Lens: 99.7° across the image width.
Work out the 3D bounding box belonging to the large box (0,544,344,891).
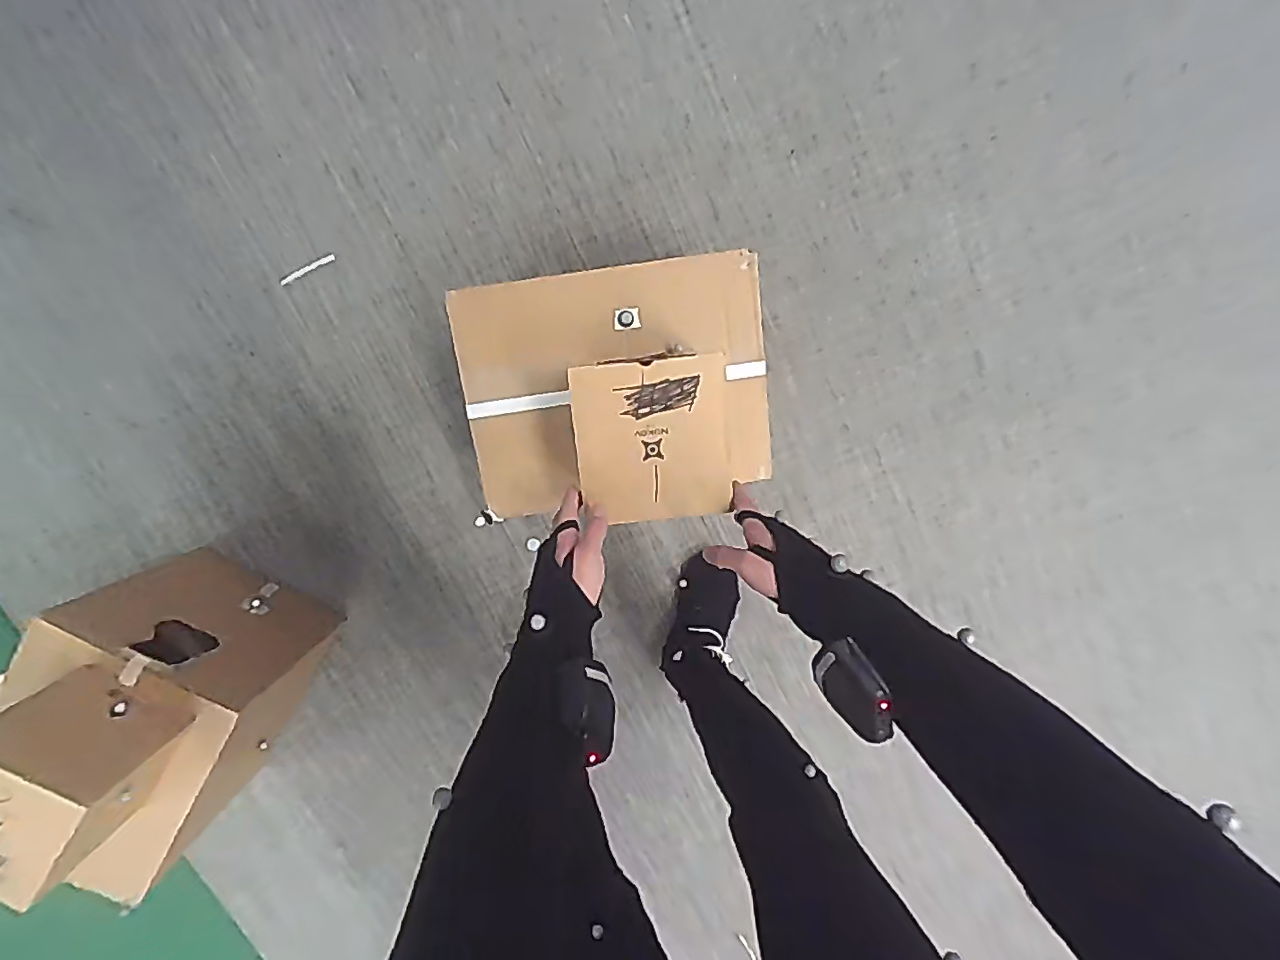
[{"bbox_3d":[-0.817,0.391,0.962,0.320,0.320,0.408,31,100,-6],"label":"large box"}]

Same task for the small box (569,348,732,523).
[{"bbox_3d":[0.010,-0.060,0.649,0.168,0.176,0.179,-6,103,-1],"label":"small box"}]
